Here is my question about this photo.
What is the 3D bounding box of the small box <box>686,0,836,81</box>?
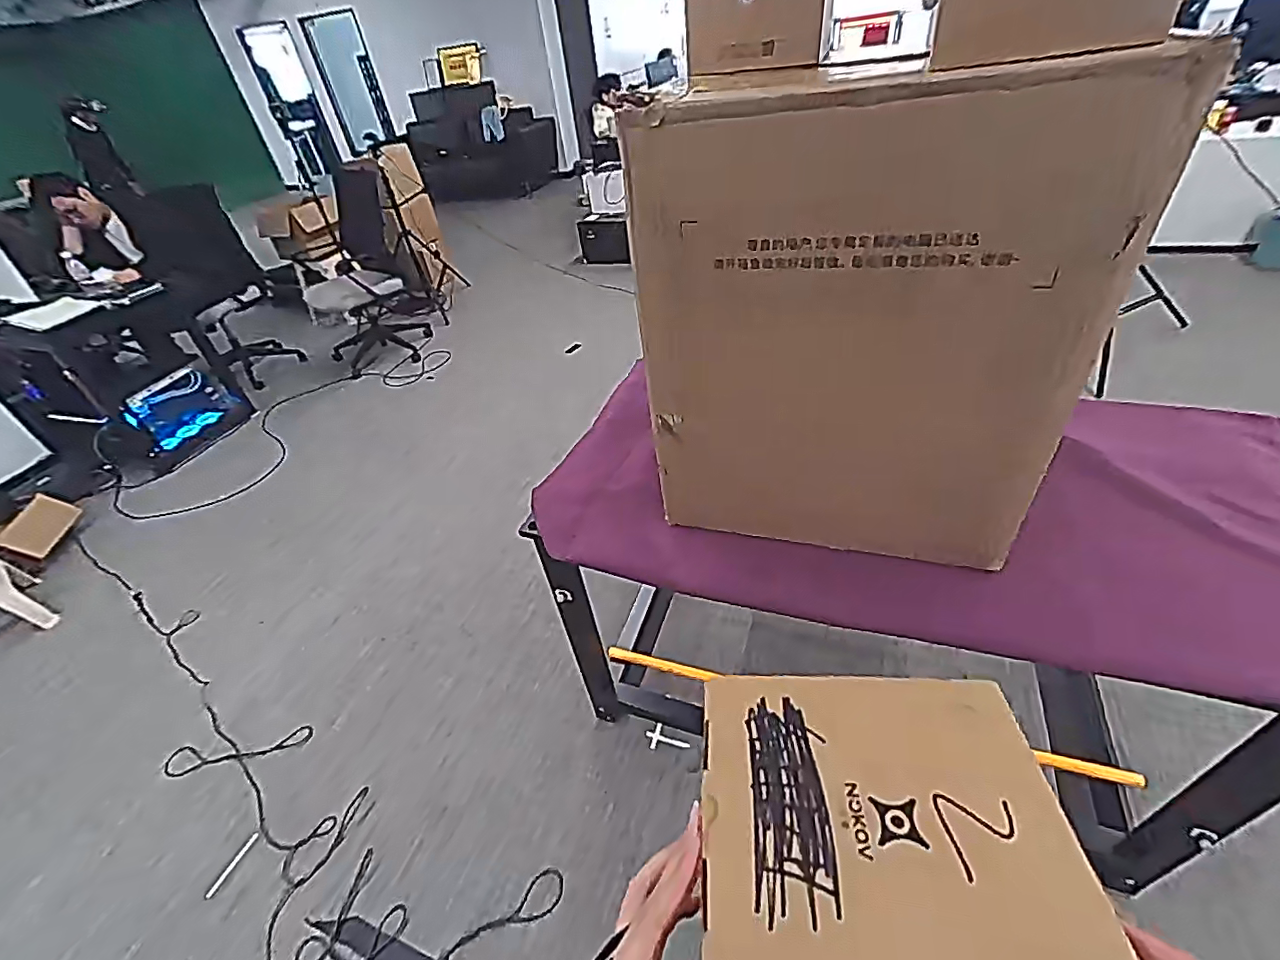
[{"bbox_3d":[0.158,-0.618,0.683,0.168,0.176,0.179,9,43,18],"label":"small box"}]
